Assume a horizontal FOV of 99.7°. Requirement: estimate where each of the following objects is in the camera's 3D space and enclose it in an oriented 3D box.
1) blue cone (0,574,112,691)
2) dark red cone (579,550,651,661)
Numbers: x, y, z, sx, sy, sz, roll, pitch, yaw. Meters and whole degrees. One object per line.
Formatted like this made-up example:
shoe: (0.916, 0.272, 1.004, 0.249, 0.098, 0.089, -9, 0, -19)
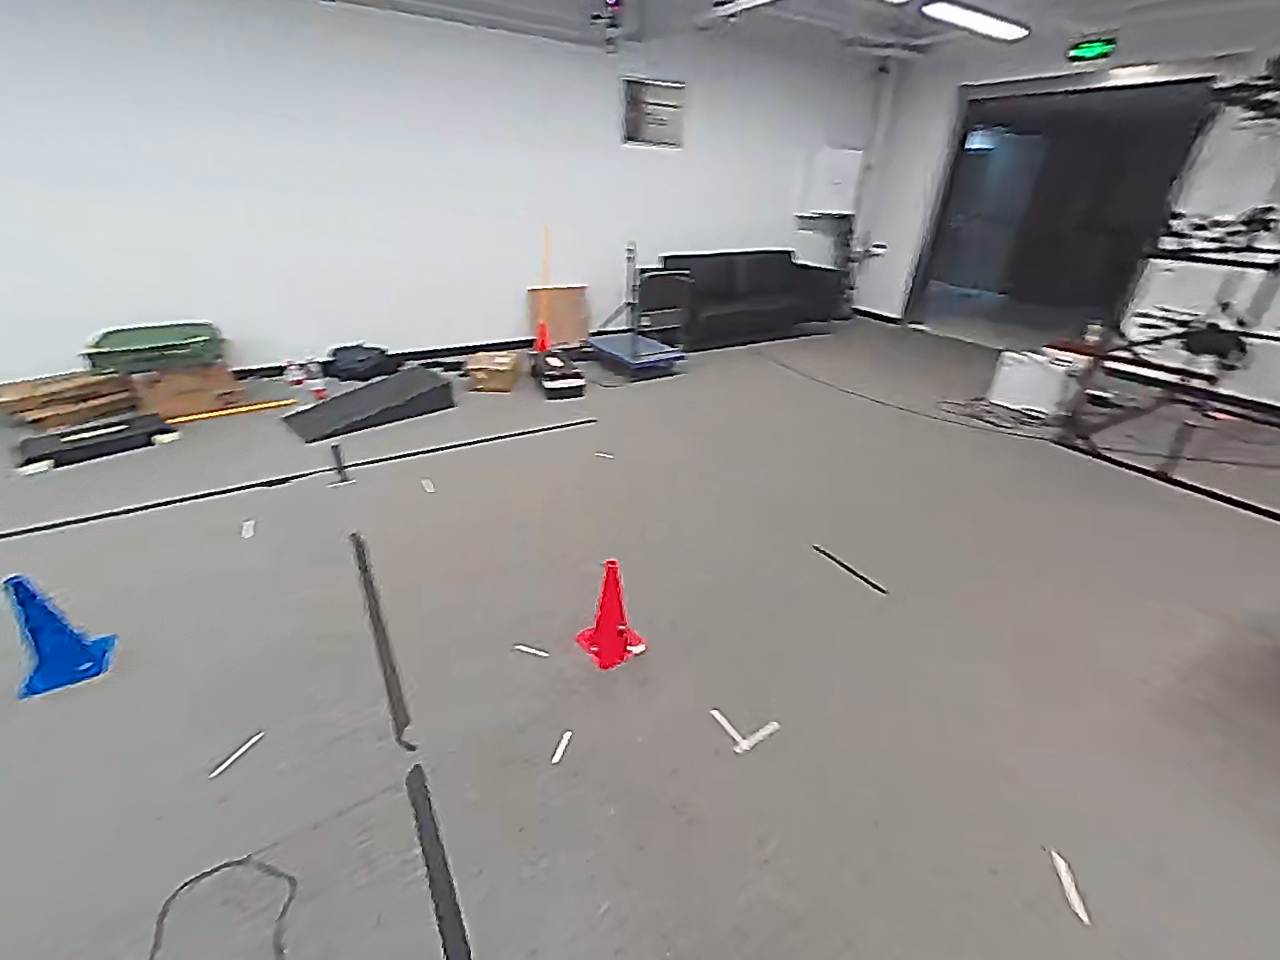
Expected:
blue cone: (-1.837, 0.444, 1.669, 0.192, 0.380, 0.193, -15, 33, -27)
dark red cone: (-0.084, 0.402, 1.830, 0.201, 0.394, 0.202, -20, 36, -34)
